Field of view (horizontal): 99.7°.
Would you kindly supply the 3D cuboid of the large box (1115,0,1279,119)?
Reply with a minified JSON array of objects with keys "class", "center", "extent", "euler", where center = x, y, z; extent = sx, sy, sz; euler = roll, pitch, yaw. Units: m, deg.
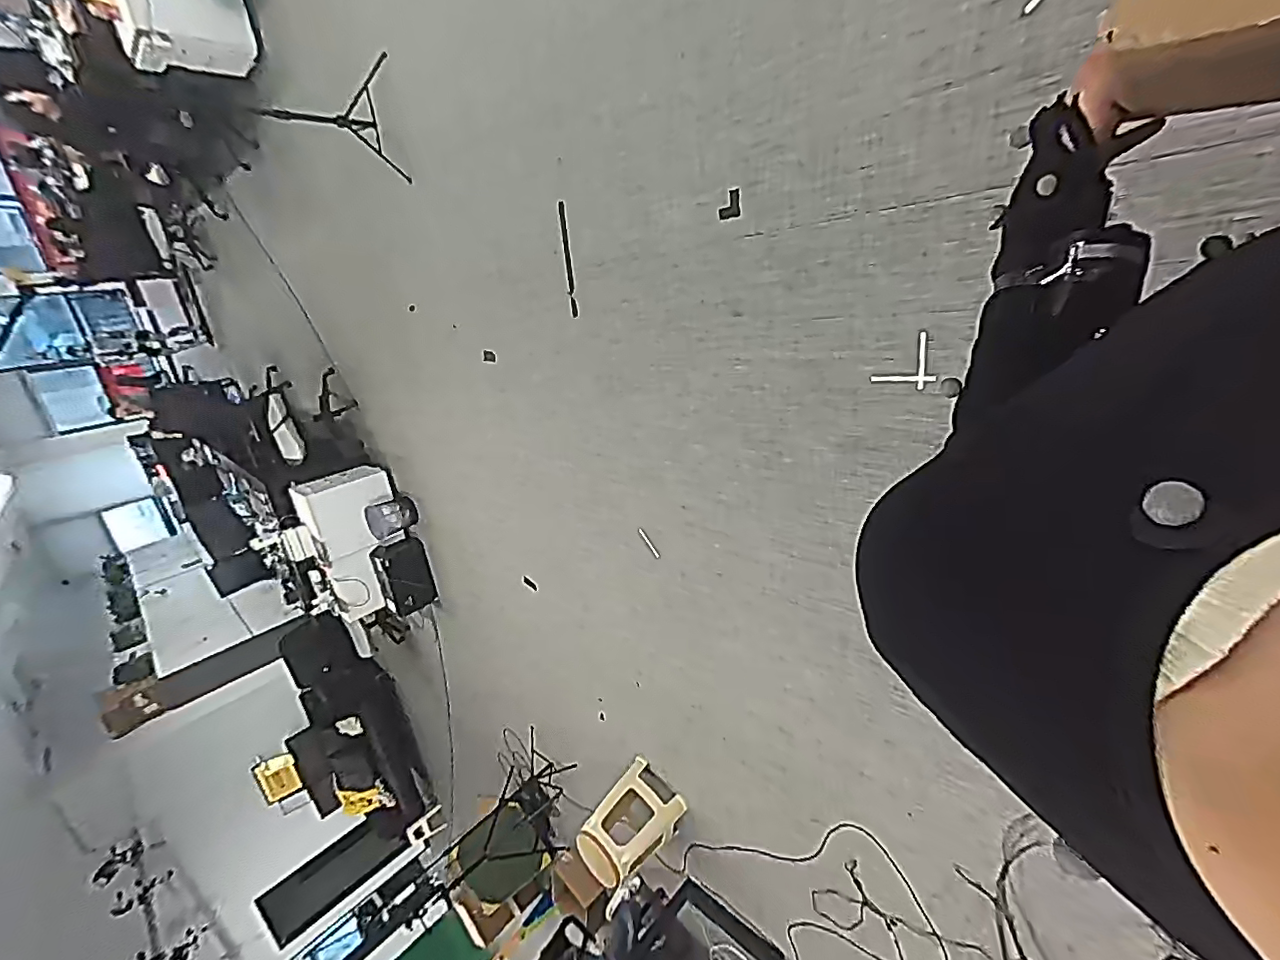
[{"class":"large box","center":[0.423,-0.332,0.145],"extent":[0.408,0.320,0.320],"euler":[14,121,36]}]
